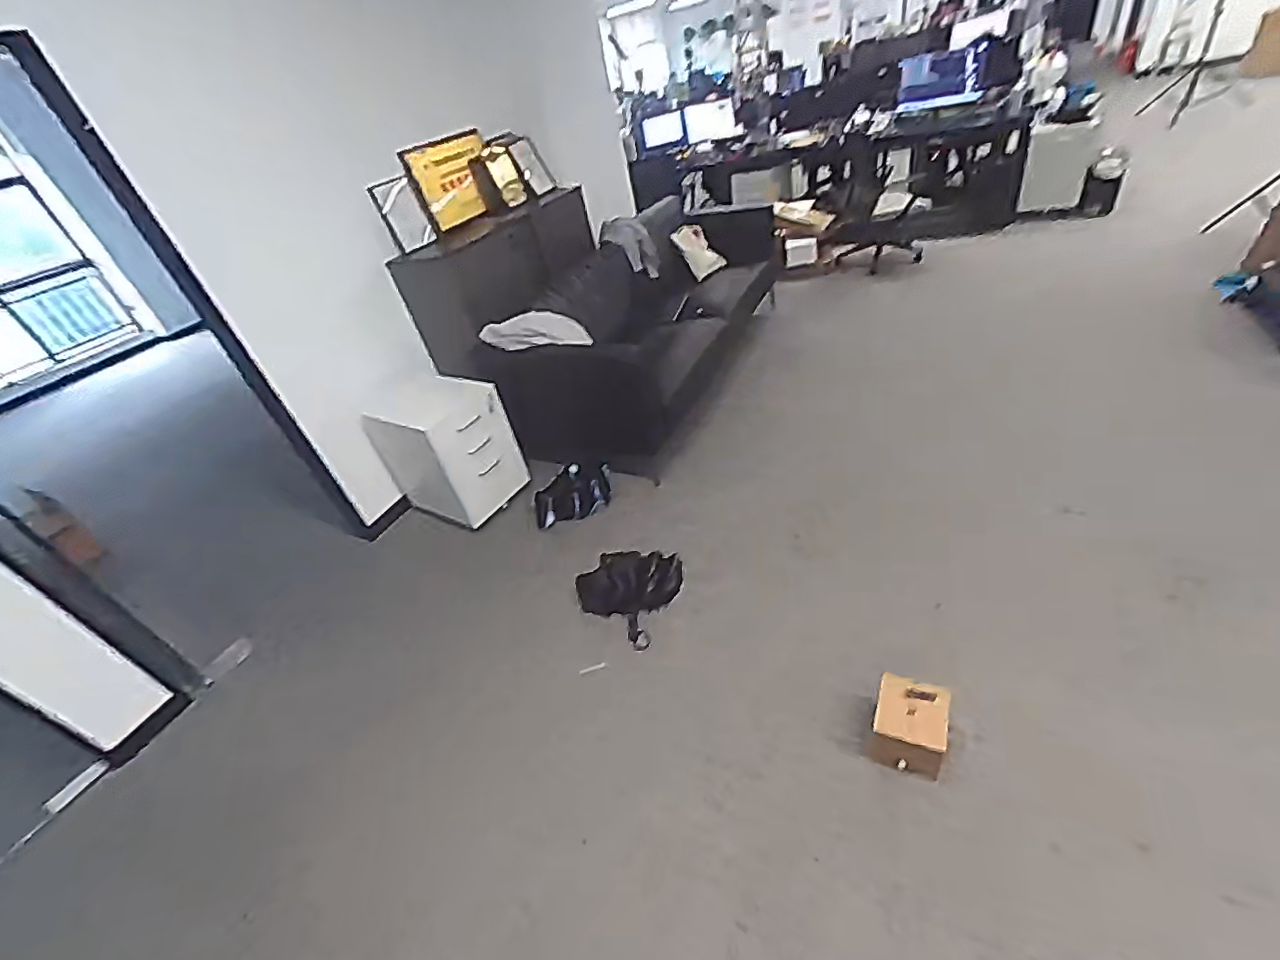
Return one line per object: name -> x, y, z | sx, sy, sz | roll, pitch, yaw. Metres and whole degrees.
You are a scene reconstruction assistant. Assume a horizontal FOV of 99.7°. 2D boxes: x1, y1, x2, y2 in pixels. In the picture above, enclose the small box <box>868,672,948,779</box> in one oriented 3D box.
small box -> 0.706, 0.649, 1.433 | 0.168, 0.176, 0.179 | 8, 44, 27
